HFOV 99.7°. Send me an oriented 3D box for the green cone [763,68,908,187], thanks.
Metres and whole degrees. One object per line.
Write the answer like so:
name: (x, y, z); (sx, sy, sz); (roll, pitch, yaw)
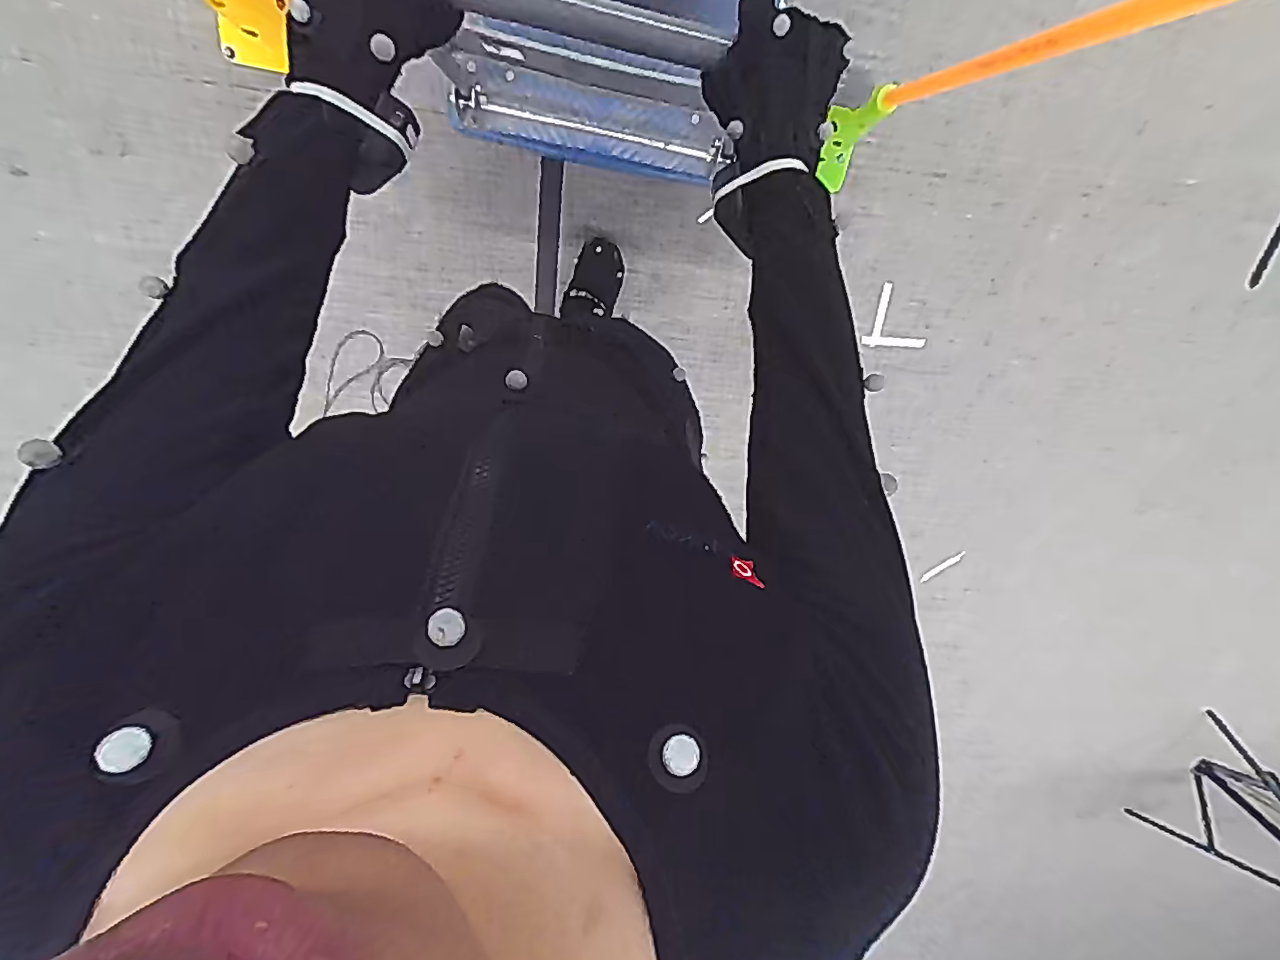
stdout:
green cone: (0.405, -0.710, 1.055); (0.202, 0.368, 0.200); (7, 114, -9)
